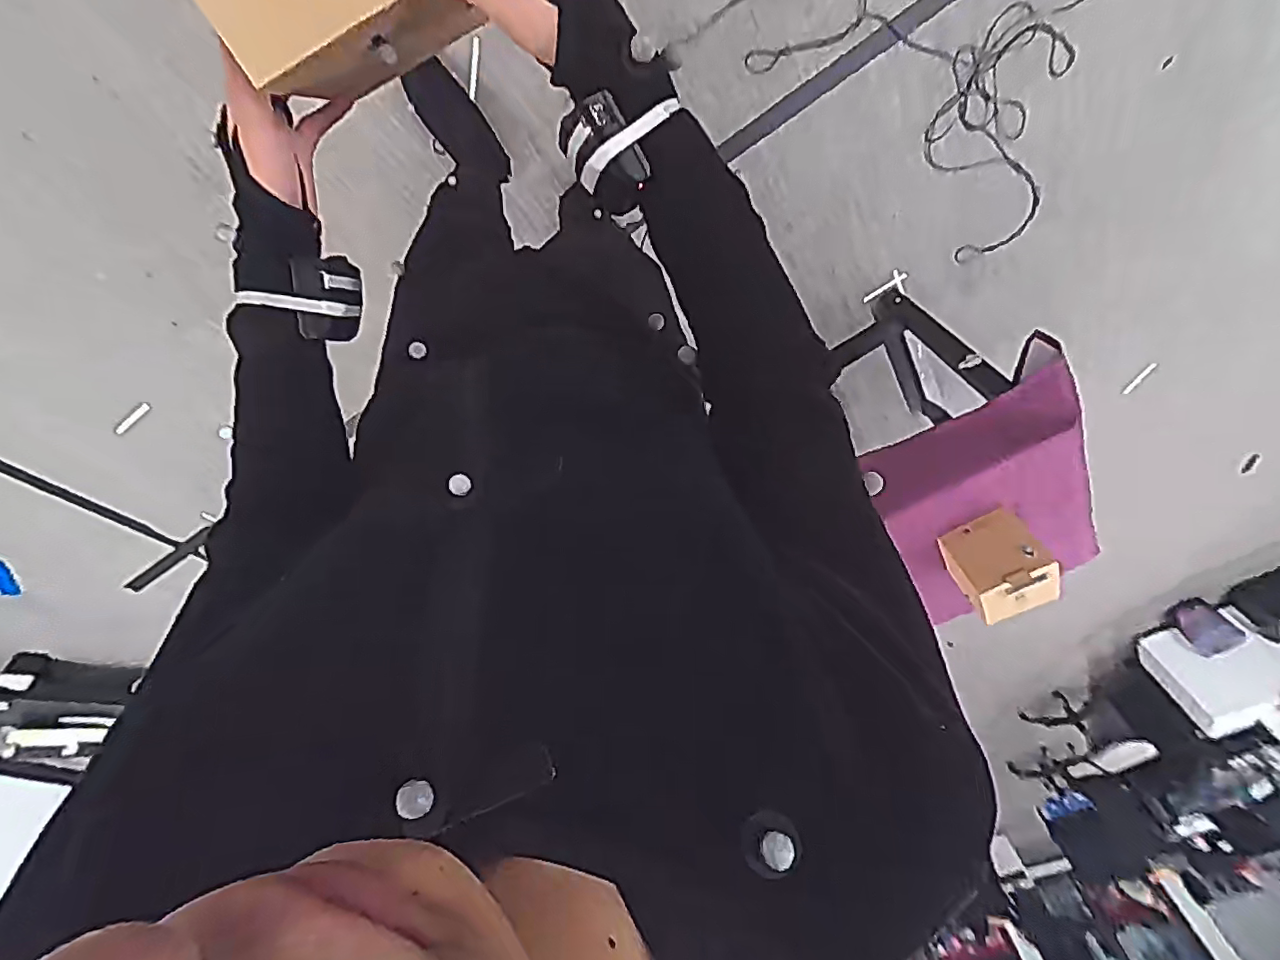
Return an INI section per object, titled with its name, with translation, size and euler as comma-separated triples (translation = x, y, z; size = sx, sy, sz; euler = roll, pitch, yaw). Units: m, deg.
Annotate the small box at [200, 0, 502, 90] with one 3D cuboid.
[small box]
translation = -0.205, -0.388, 0.355
size = 0.179, 0.176, 0.168
euler = -23, 122, 9
